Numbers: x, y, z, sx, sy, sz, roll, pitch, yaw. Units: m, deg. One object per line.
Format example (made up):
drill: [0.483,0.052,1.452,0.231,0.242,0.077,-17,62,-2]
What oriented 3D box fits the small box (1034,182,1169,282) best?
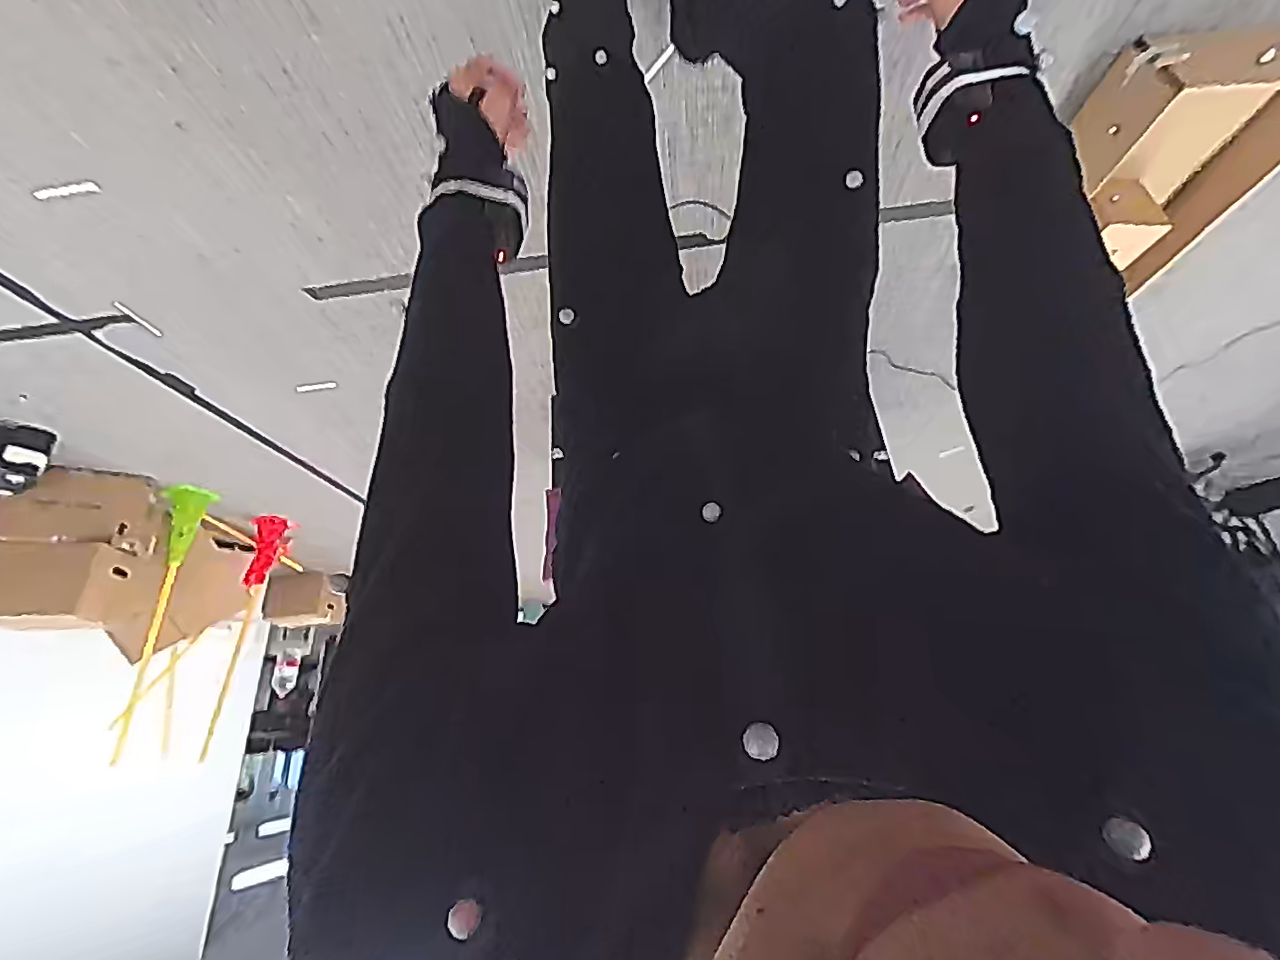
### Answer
small box: [1.162,-0.632,1.379,0.179,0.176,0.168,-1,155,-8]
